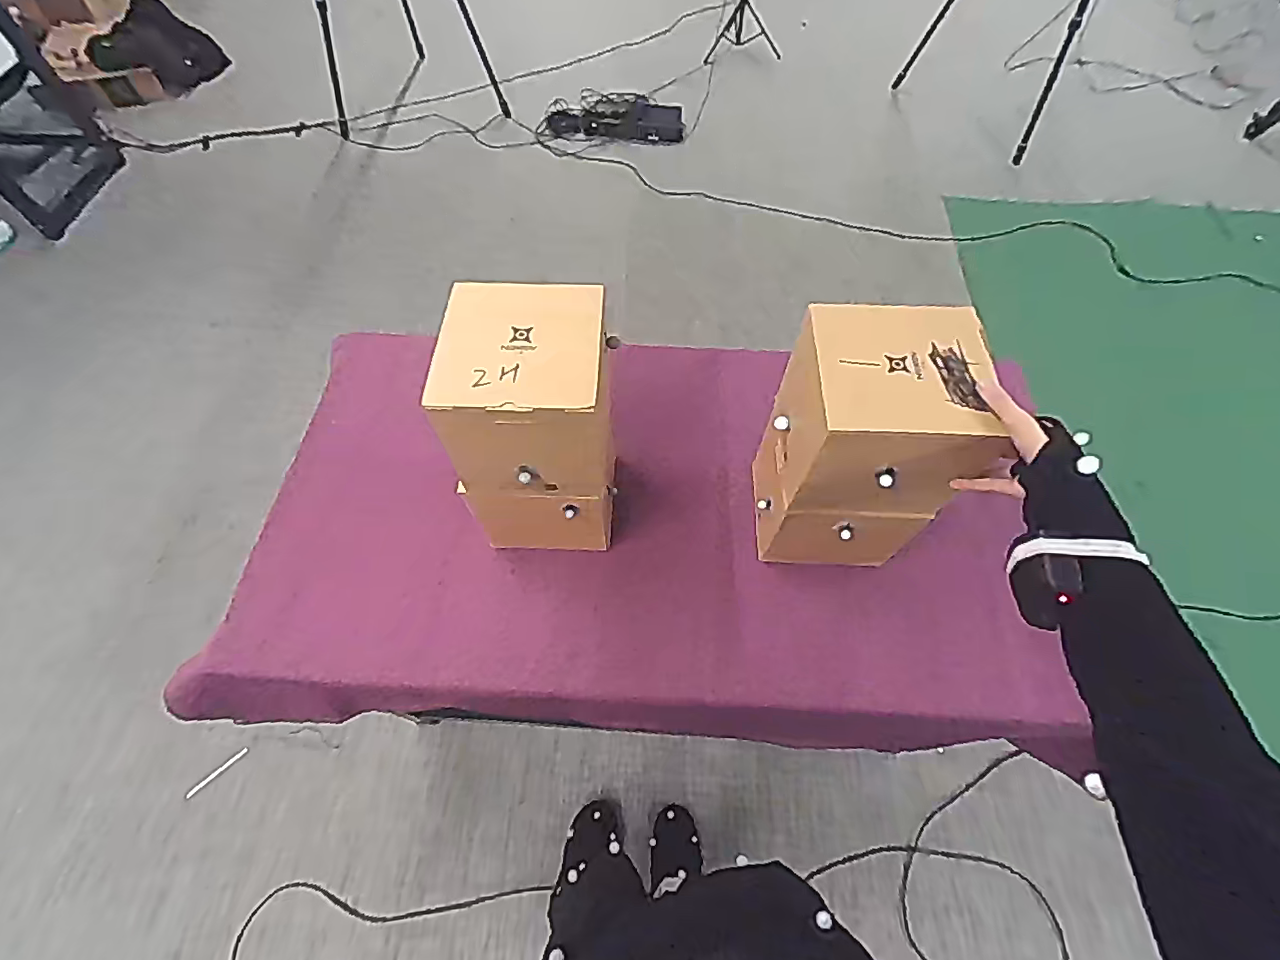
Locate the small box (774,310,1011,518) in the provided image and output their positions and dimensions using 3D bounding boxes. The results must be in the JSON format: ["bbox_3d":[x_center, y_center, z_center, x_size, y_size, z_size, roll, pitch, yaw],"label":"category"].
[{"bbox_3d":[0.259,-0.066,0.604,0.179,0.176,0.168,2,60,2],"label":"small box"}]

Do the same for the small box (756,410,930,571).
[{"bbox_3d":[0.260,0.019,0.746,0.179,0.176,0.168,3,60,1],"label":"small box"}]

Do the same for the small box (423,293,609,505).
[{"bbox_3d":[-0.123,-0.089,0.621,0.168,0.176,0.179,1,59,0],"label":"small box"}]

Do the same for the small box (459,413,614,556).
[{"bbox_3d":[-0.131,0.000,0.760,0.179,0.176,0.168,1,59,0],"label":"small box"}]
